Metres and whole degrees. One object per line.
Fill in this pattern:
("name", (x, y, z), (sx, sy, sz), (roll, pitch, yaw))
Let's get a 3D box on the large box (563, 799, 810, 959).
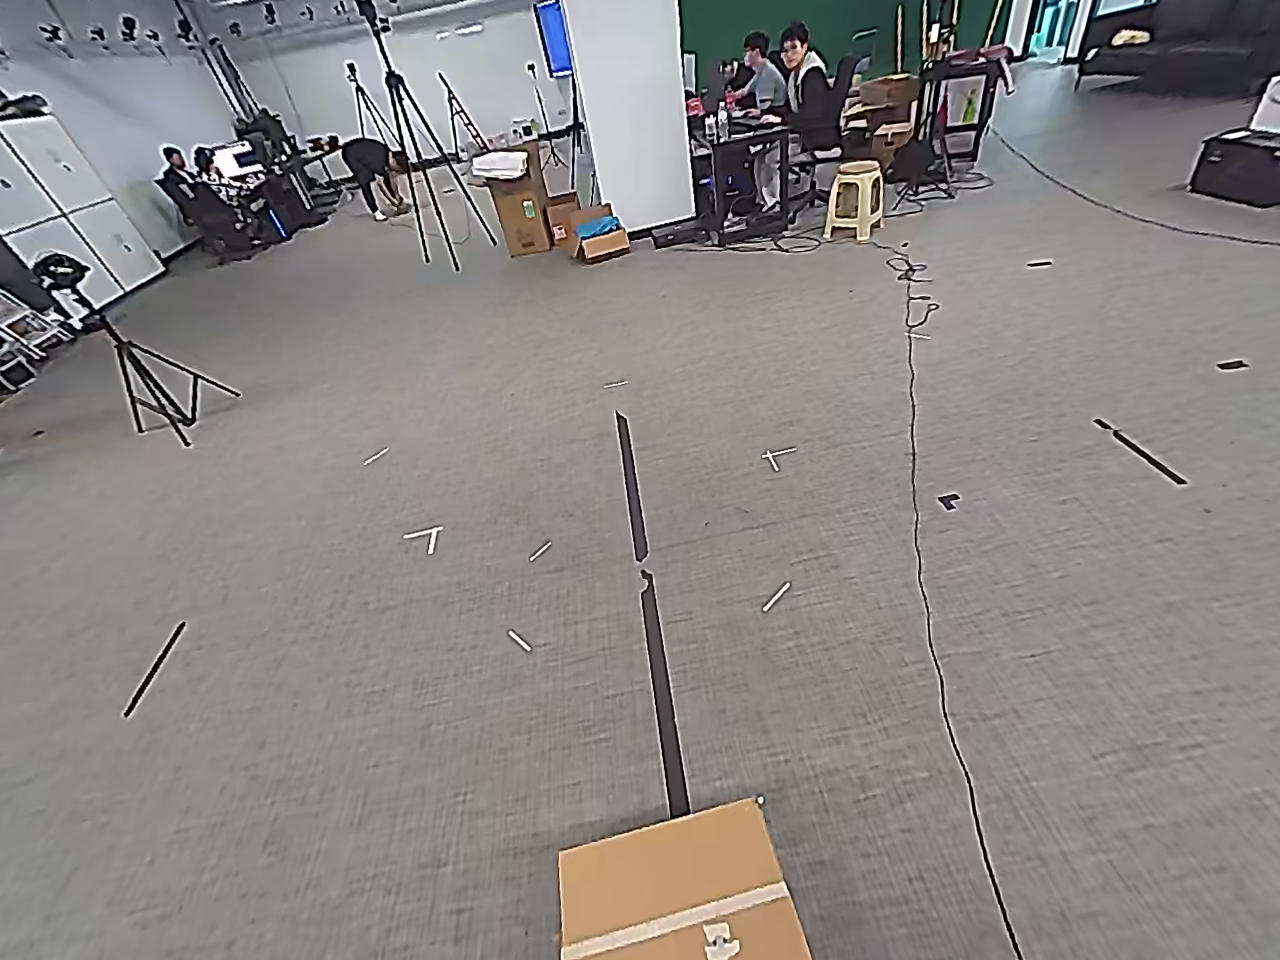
("large box", (0.091, 0.891, 1.043), (0.408, 0.320, 0.320), (-14, 39, -2))
